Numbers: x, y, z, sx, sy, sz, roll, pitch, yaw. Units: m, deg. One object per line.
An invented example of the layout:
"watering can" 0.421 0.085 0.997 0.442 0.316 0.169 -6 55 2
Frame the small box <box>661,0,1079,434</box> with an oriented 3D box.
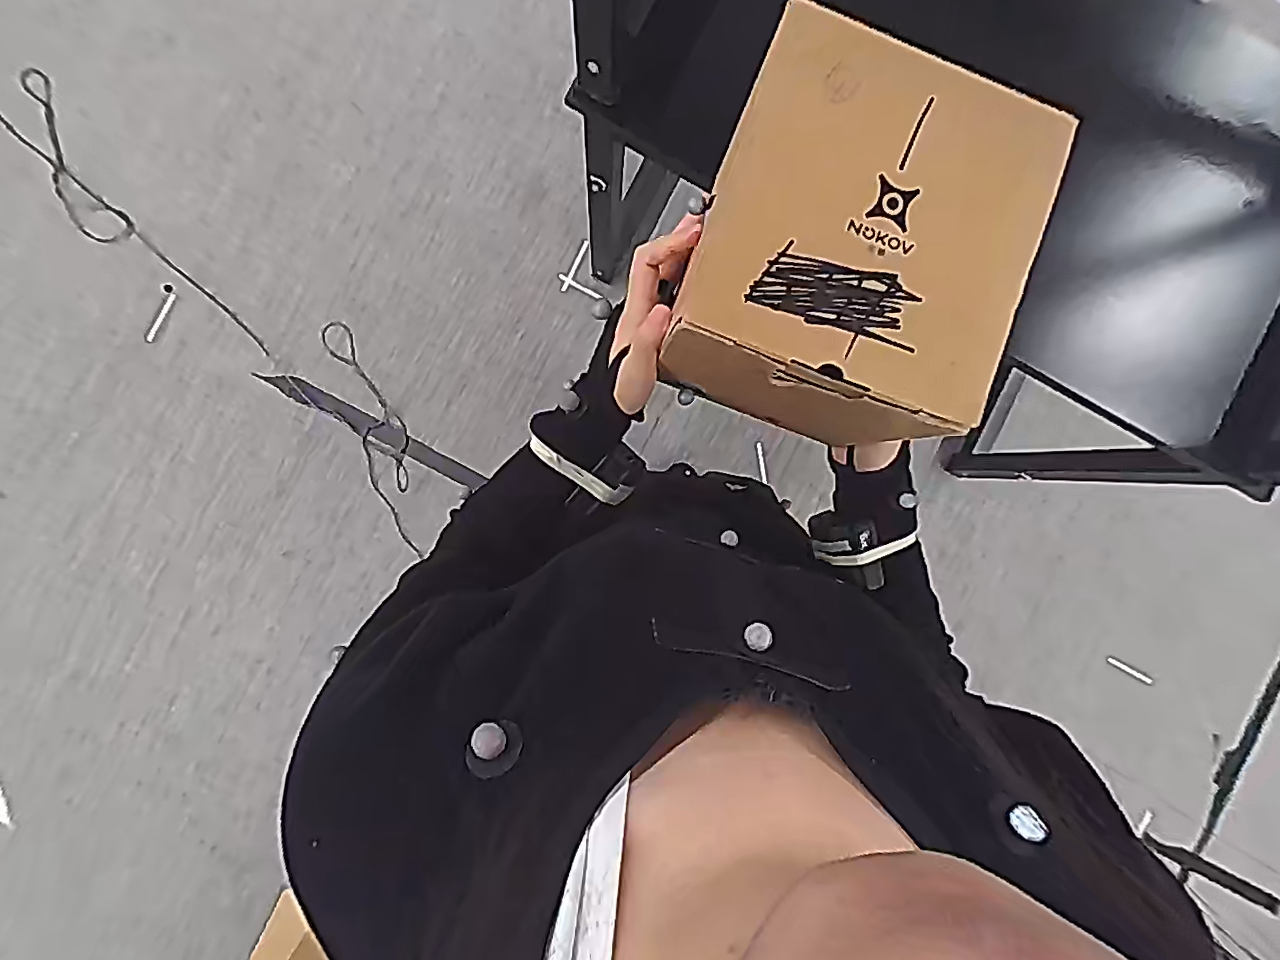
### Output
"small box" 0.118 -0.137 0.353 0.168 0.176 0.179 19 89 -5
